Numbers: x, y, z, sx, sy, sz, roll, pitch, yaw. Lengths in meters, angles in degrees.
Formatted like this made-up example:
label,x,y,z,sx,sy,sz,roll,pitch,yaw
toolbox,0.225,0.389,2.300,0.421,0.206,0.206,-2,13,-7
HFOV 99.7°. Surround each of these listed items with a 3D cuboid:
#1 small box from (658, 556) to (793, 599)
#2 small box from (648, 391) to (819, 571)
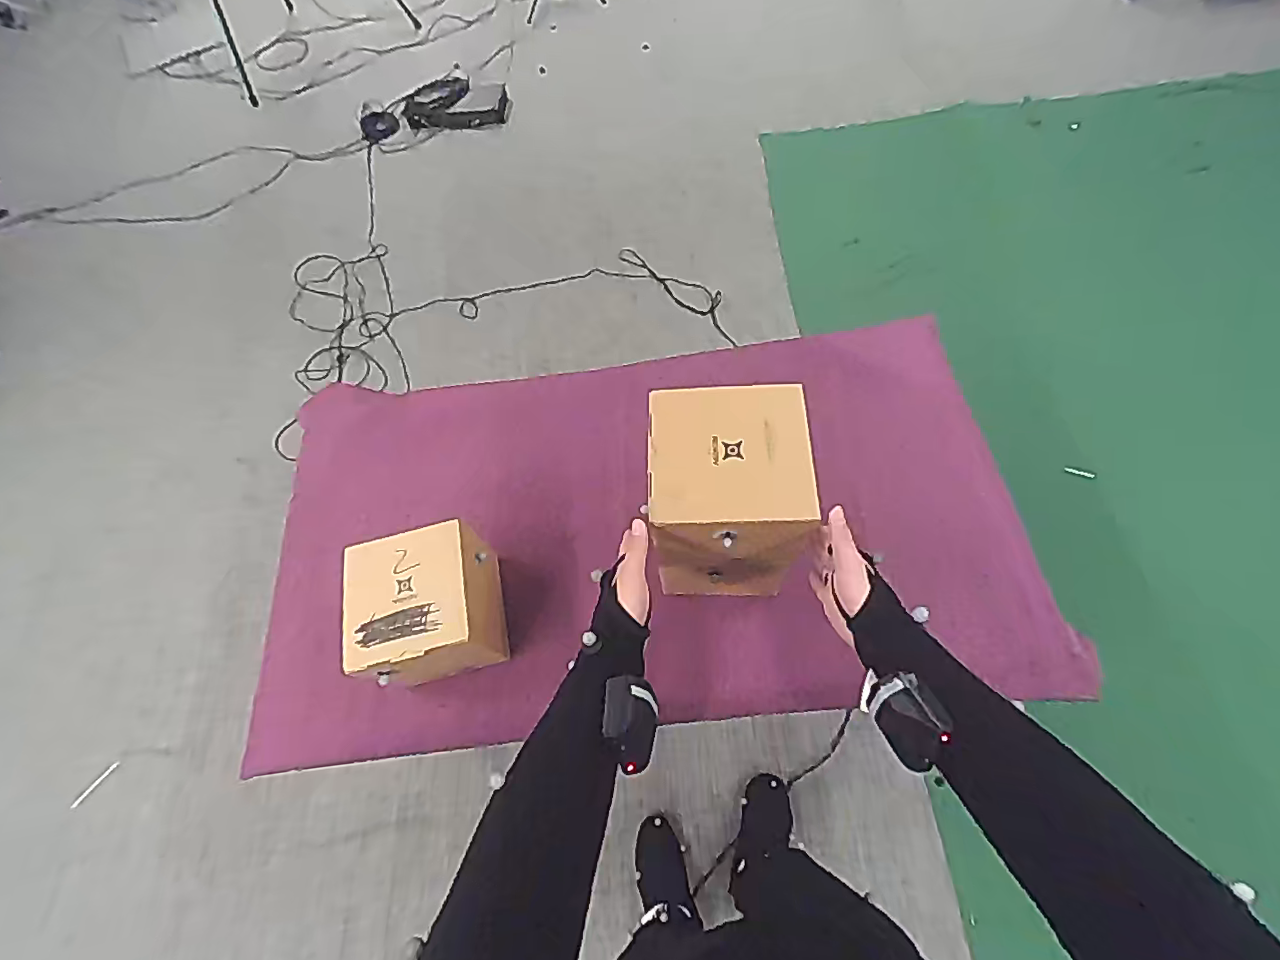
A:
label,x,y,z,sx,sy,sz,roll,pitch,yaw
small box,0.121,0.077,0.801,0.179,0.176,0.168,0,65,5
small box,0.104,0.010,0.653,0.179,0.176,0.168,-2,65,5
